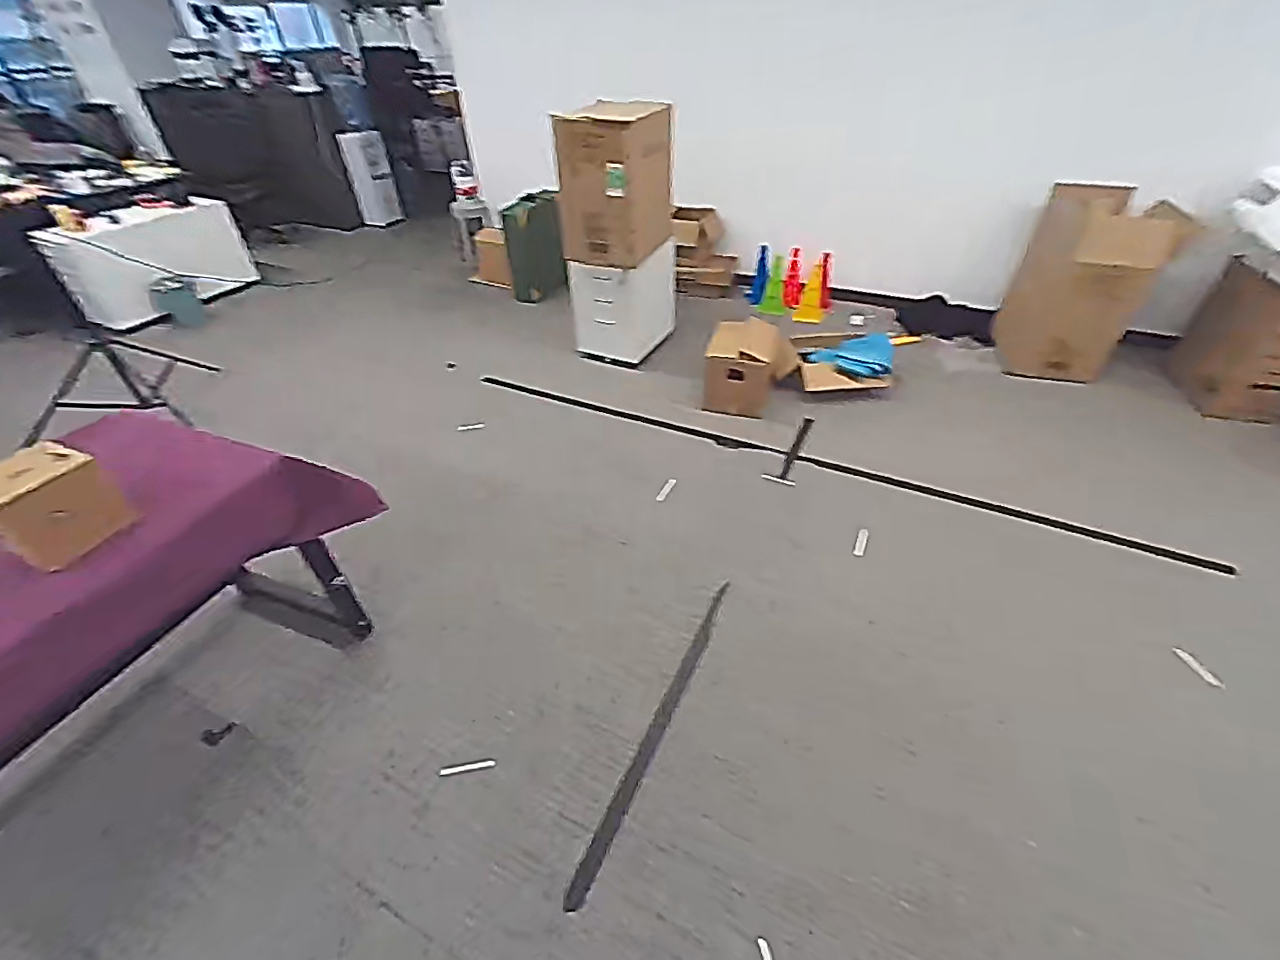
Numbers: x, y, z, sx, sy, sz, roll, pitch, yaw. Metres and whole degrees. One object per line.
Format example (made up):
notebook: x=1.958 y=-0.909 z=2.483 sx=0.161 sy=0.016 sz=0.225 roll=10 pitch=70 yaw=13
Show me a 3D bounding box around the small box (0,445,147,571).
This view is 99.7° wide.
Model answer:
small box: x=-1.190 y=0.059 z=1.110 sx=0.168 sy=0.176 sz=0.179 roll=14 pitch=44 yaw=19
